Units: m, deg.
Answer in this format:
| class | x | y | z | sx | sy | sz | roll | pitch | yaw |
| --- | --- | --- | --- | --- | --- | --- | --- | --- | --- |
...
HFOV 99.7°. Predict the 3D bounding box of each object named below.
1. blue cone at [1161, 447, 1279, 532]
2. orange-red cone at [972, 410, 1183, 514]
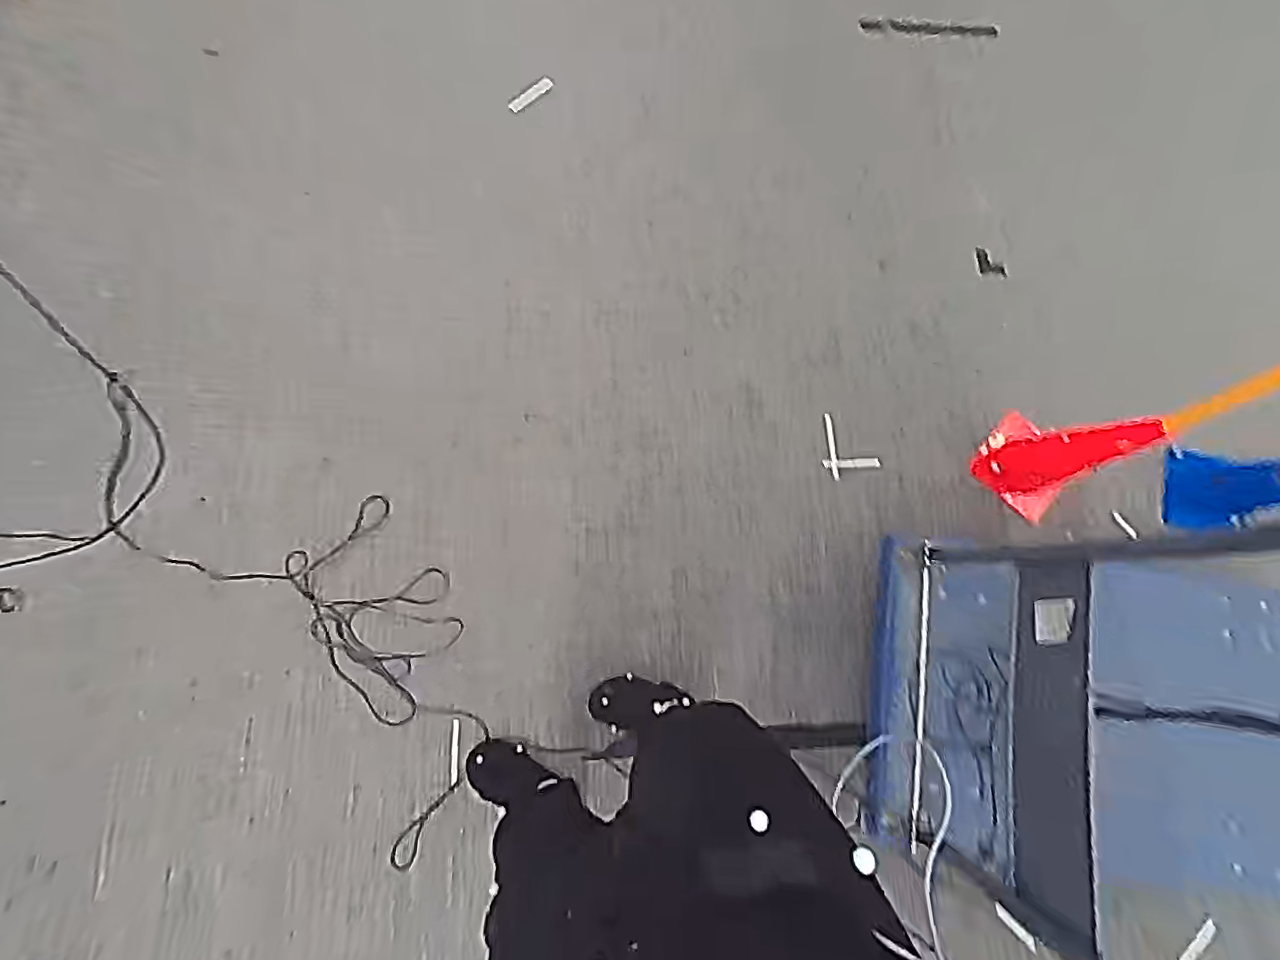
| class | x | y | z | sx | sy | sz | roll | pitch | yaw |
| --- | --- | --- | --- | --- | --- | --- | --- | --- | --- |
| blue cone | 1.359 | -0.007 | 1.139 | 0.192 | 0.380 | 0.193 | 13 | 79 | 0 |
| orange-red cone | 0.920 | -0.073 | 1.115 | 0.199 | 0.360 | 0.198 | 43 | 81 | 4 |
